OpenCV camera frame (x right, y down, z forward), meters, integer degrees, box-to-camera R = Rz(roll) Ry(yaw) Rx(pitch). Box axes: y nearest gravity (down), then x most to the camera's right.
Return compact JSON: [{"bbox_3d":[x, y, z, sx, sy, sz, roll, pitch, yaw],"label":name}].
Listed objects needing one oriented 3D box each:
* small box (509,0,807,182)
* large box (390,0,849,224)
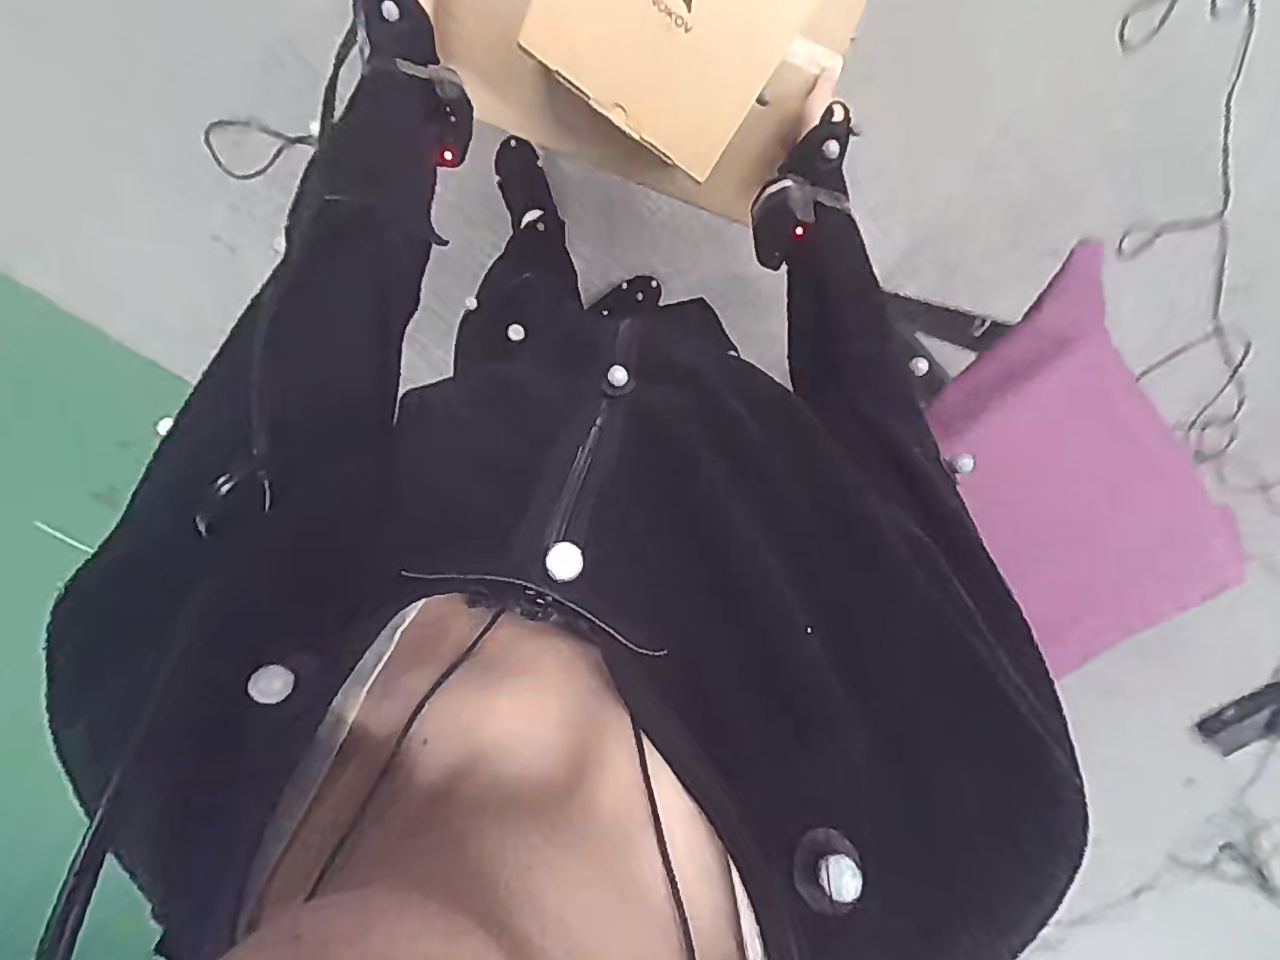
[{"bbox_3d":[0.017,-0.376,0.422,0.168,0.176,0.179,26,122,-20],"label":"small box"},{"bbox_3d":[-0.013,-0.534,0.608,0.408,0.320,0.320,14,122,-12],"label":"large box"}]
